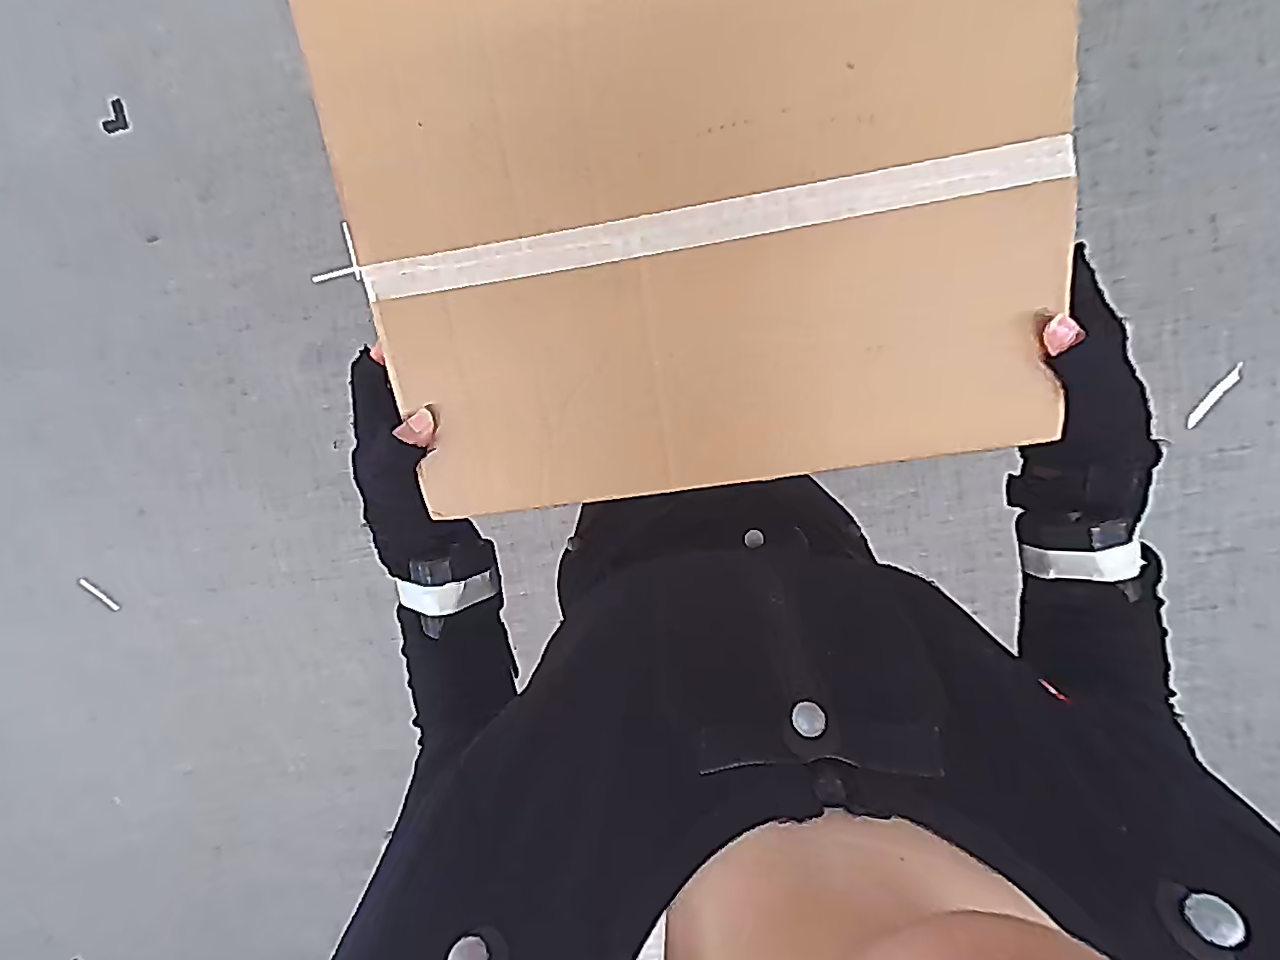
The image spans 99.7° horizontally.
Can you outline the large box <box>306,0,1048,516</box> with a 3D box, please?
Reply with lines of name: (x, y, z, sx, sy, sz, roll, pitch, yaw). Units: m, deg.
large box: (0.039, -0.189, 0.465, 0.408, 0.320, 0.320, -8, 105, 6)
